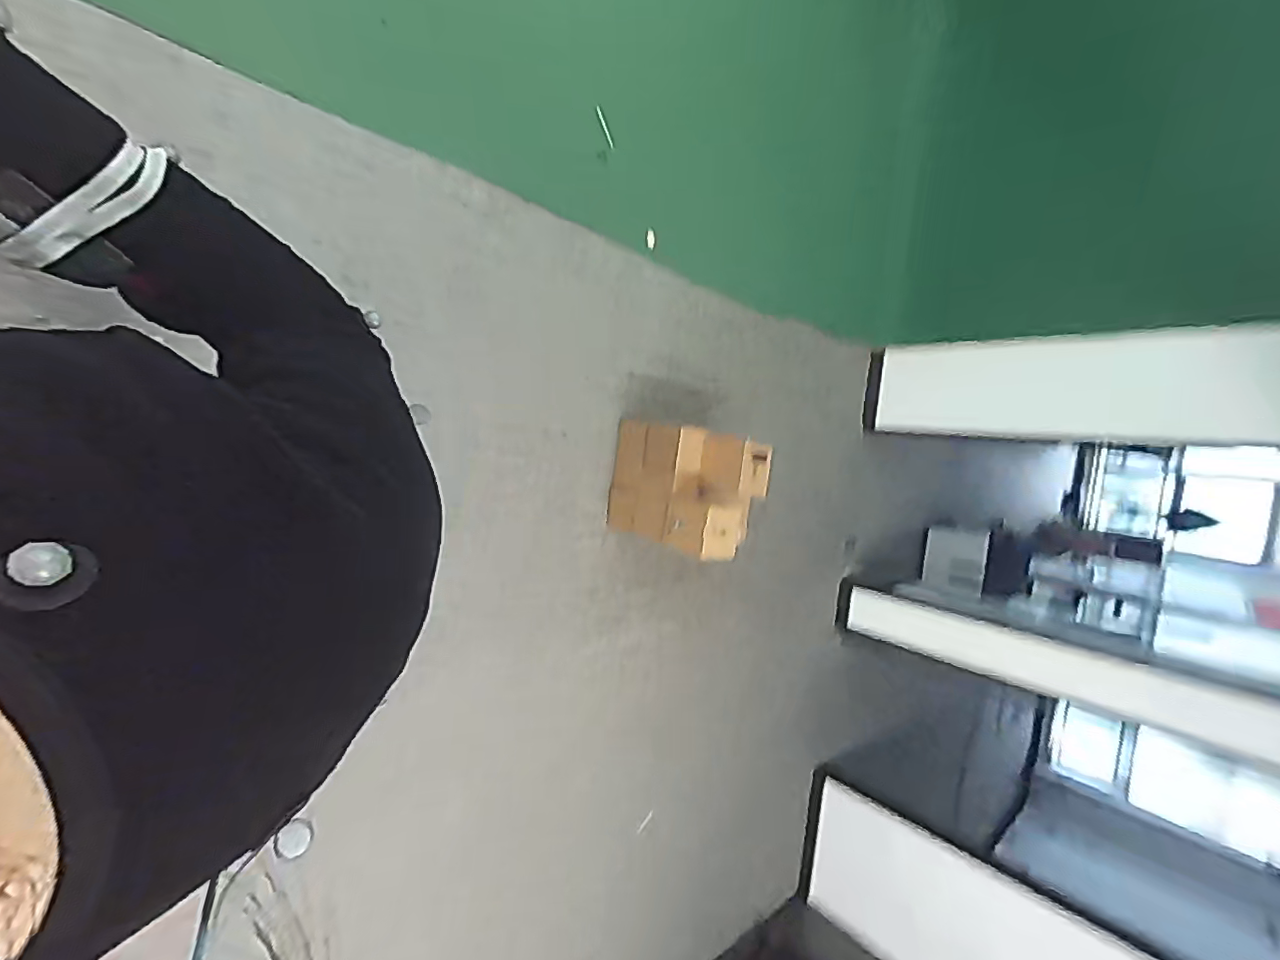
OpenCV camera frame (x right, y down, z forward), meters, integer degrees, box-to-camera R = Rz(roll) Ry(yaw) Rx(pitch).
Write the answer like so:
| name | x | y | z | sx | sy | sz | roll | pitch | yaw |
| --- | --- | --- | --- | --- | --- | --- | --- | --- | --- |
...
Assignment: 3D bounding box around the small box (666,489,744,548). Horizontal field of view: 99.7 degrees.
| name | x | y | z | sx | sy | sz | roll | pitch | yaw |
| --- | --- | --- | --- | --- | --- | --- | --- | --- | --- |
| small box | 0.213 | 0.125 | 1.766 | 0.179 | 0.176 | 0.168 | 5 | 94 | -44 |
